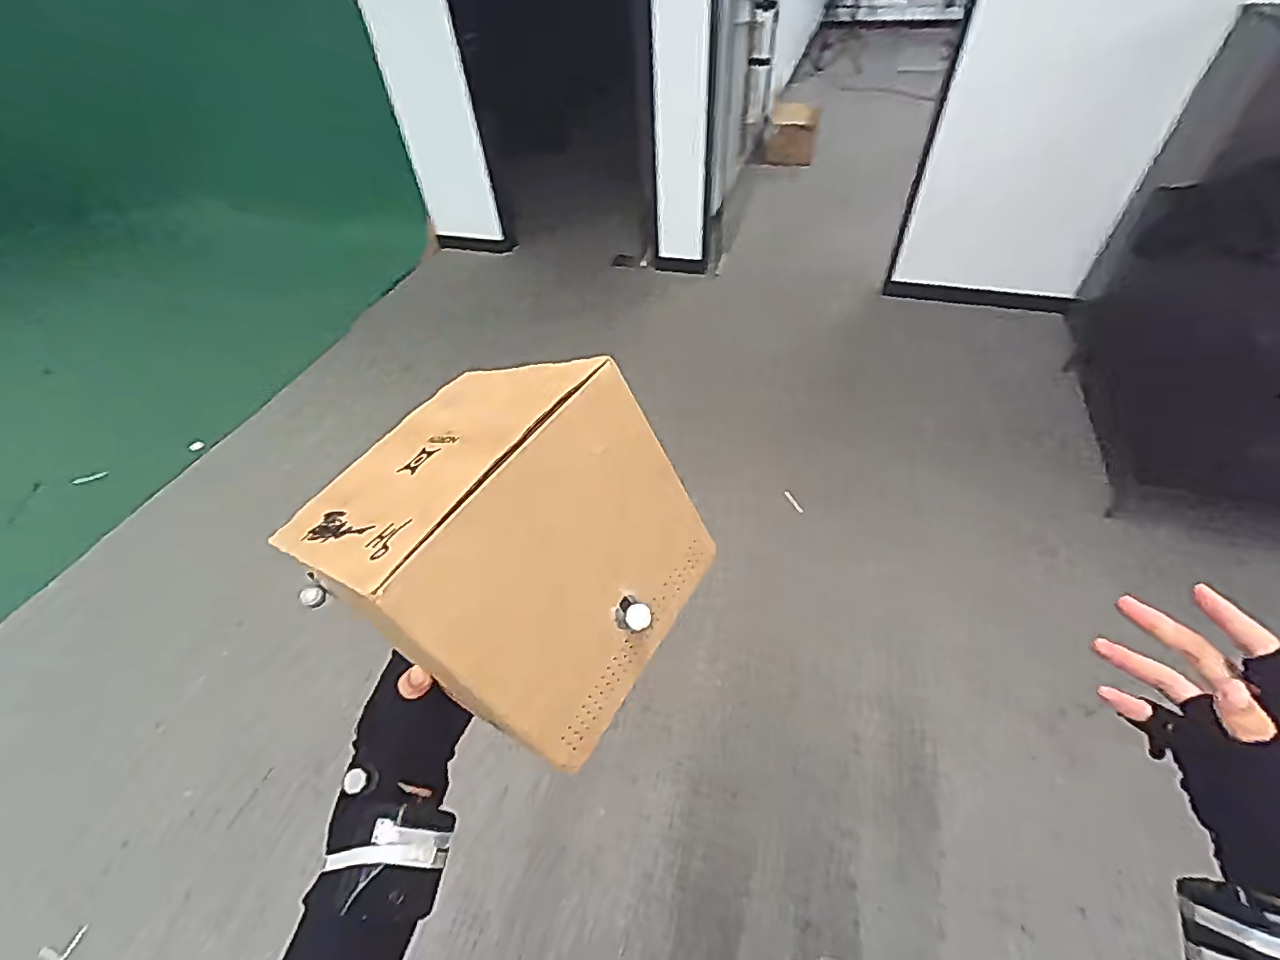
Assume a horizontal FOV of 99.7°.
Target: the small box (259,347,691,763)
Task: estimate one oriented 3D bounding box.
[{"bbox_3d":[-0.087,0.038,0.351,0.168,0.176,0.179,5,46,43],"label":"small box"}]
